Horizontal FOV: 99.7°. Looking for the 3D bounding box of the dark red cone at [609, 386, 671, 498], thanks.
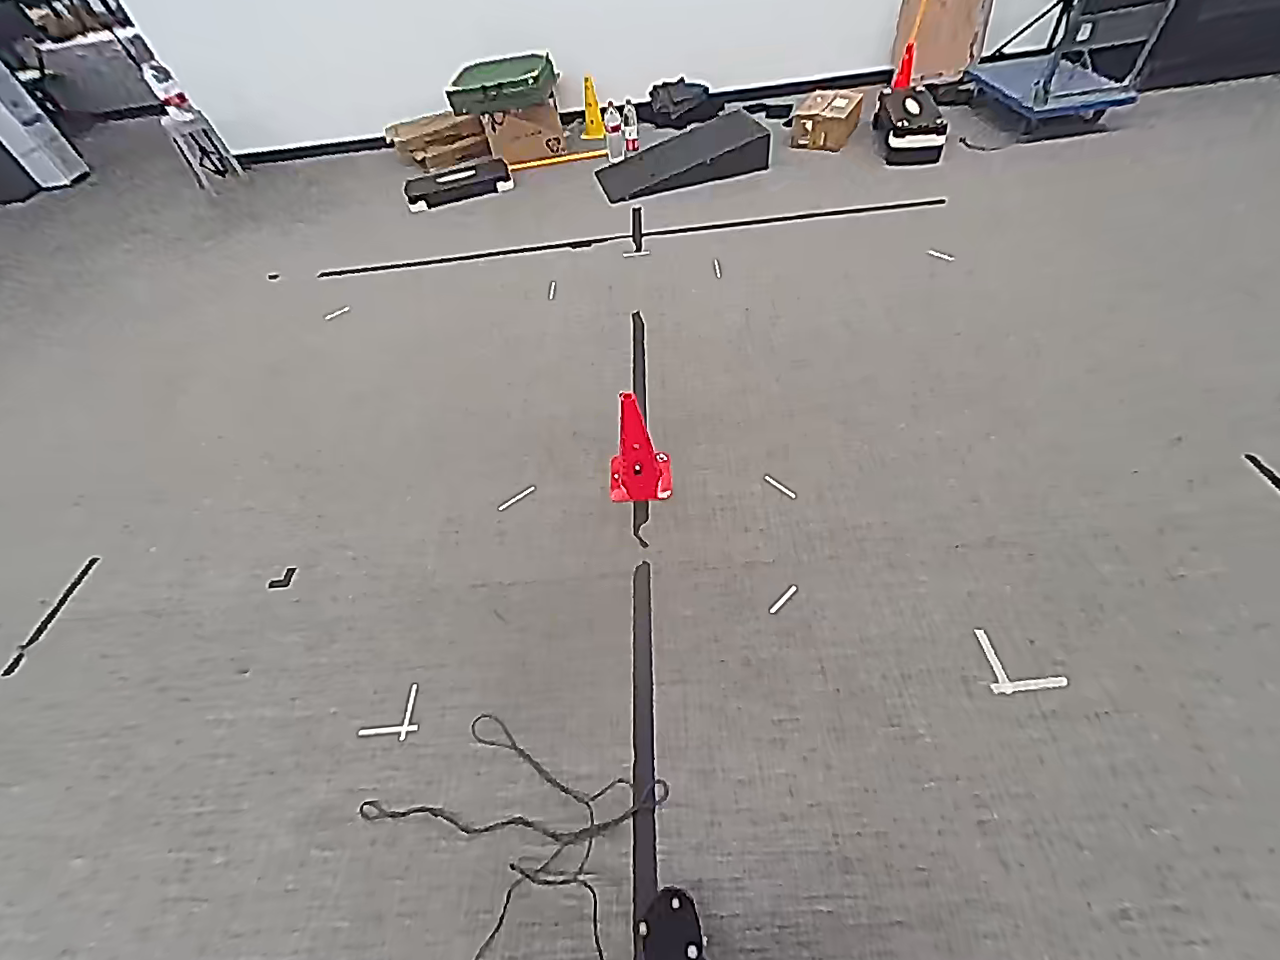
[{"bbox_3d":[-0.022,-0.130,1.647,0.201,0.394,0.202,-6,50,4],"label":"dark red cone"}]
